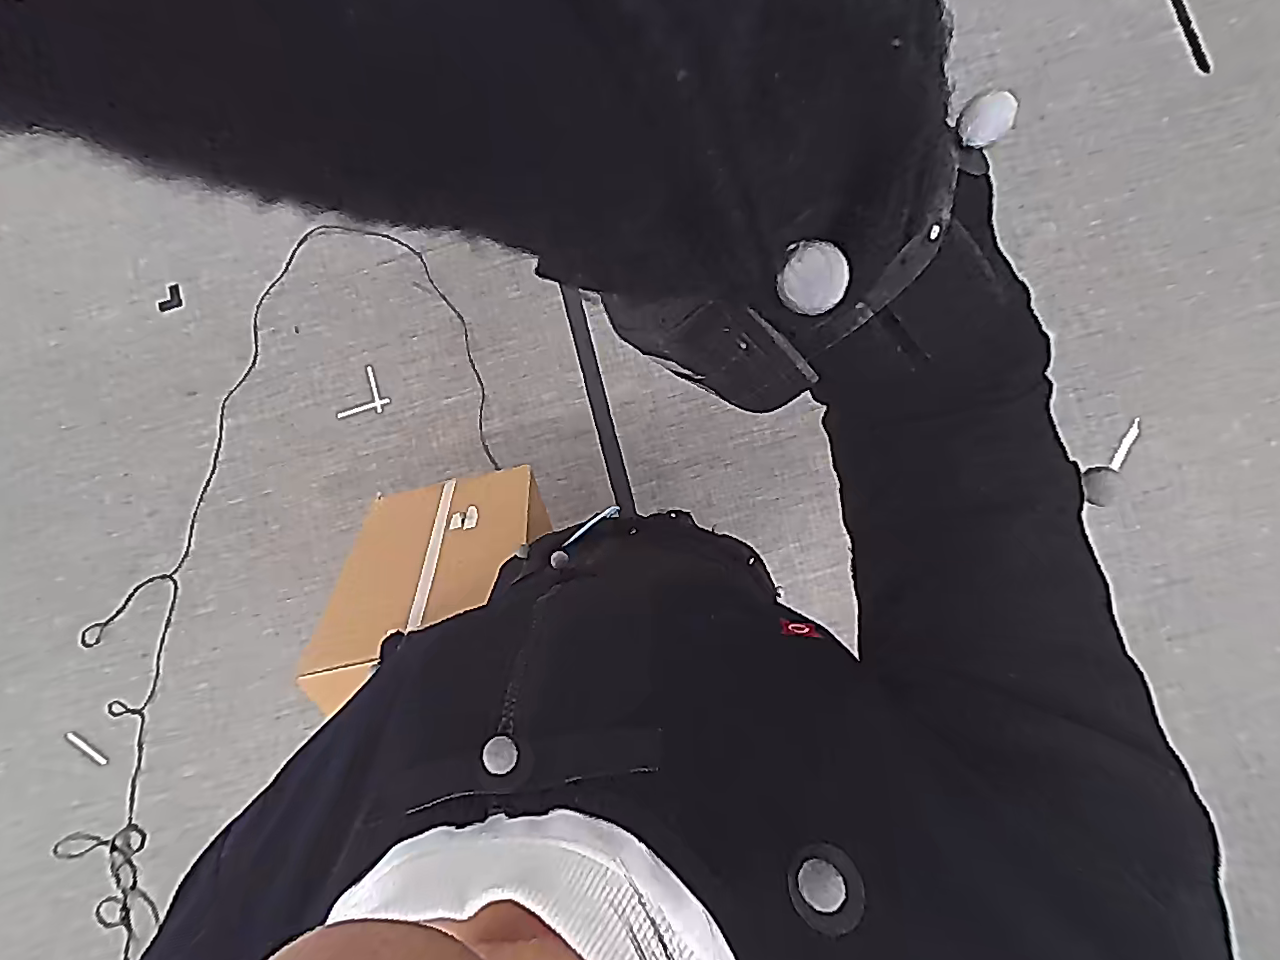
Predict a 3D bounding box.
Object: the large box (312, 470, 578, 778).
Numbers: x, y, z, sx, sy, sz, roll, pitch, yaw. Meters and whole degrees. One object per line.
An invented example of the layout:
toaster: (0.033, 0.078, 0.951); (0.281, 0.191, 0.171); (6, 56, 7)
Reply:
large box: (-0.305, 0.242, 0.983); (0.320, 0.408, 0.320); (-11, 125, -1)
